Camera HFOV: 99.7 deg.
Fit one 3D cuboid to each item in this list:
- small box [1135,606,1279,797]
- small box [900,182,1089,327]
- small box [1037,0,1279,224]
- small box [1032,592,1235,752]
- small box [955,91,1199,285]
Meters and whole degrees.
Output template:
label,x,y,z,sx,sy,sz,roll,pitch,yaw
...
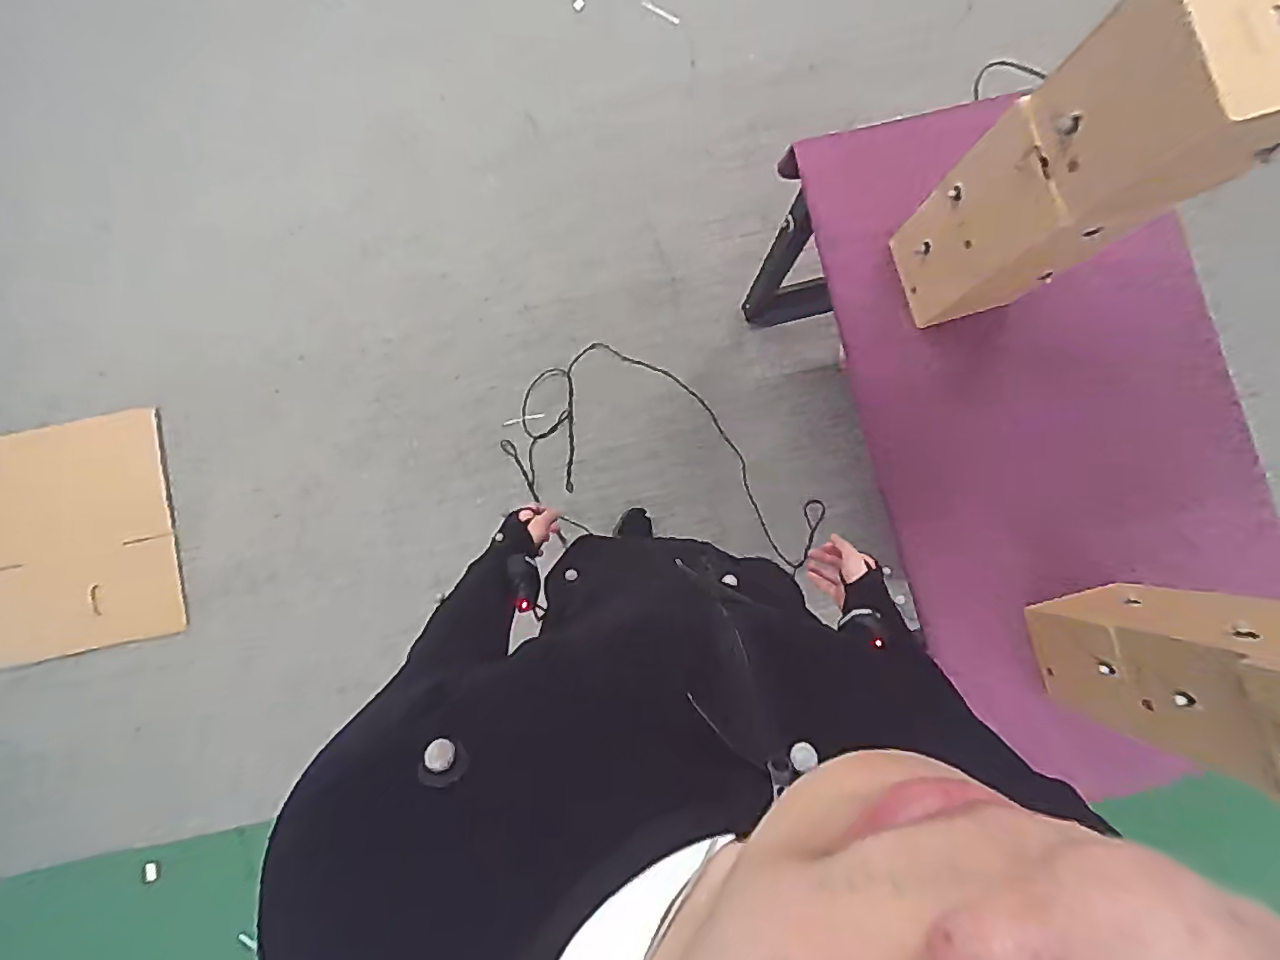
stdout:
label,x,y,z,sx,sy,sz,roll,pitch,yaw
small box,0.751,0.258,0.646,0.179,0.176,0.168,-13,86,-2
small box,0.543,-0.364,0.860,0.179,0.176,0.168,-16,86,-2
small box,0.553,-0.387,0.534,0.179,0.176,0.168,-15,85,-2
small box,0.748,0.272,0.810,0.179,0.176,0.168,-14,84,-2
small box,0.543,-0.375,0.696,0.179,0.176,0.168,-15,86,-3
